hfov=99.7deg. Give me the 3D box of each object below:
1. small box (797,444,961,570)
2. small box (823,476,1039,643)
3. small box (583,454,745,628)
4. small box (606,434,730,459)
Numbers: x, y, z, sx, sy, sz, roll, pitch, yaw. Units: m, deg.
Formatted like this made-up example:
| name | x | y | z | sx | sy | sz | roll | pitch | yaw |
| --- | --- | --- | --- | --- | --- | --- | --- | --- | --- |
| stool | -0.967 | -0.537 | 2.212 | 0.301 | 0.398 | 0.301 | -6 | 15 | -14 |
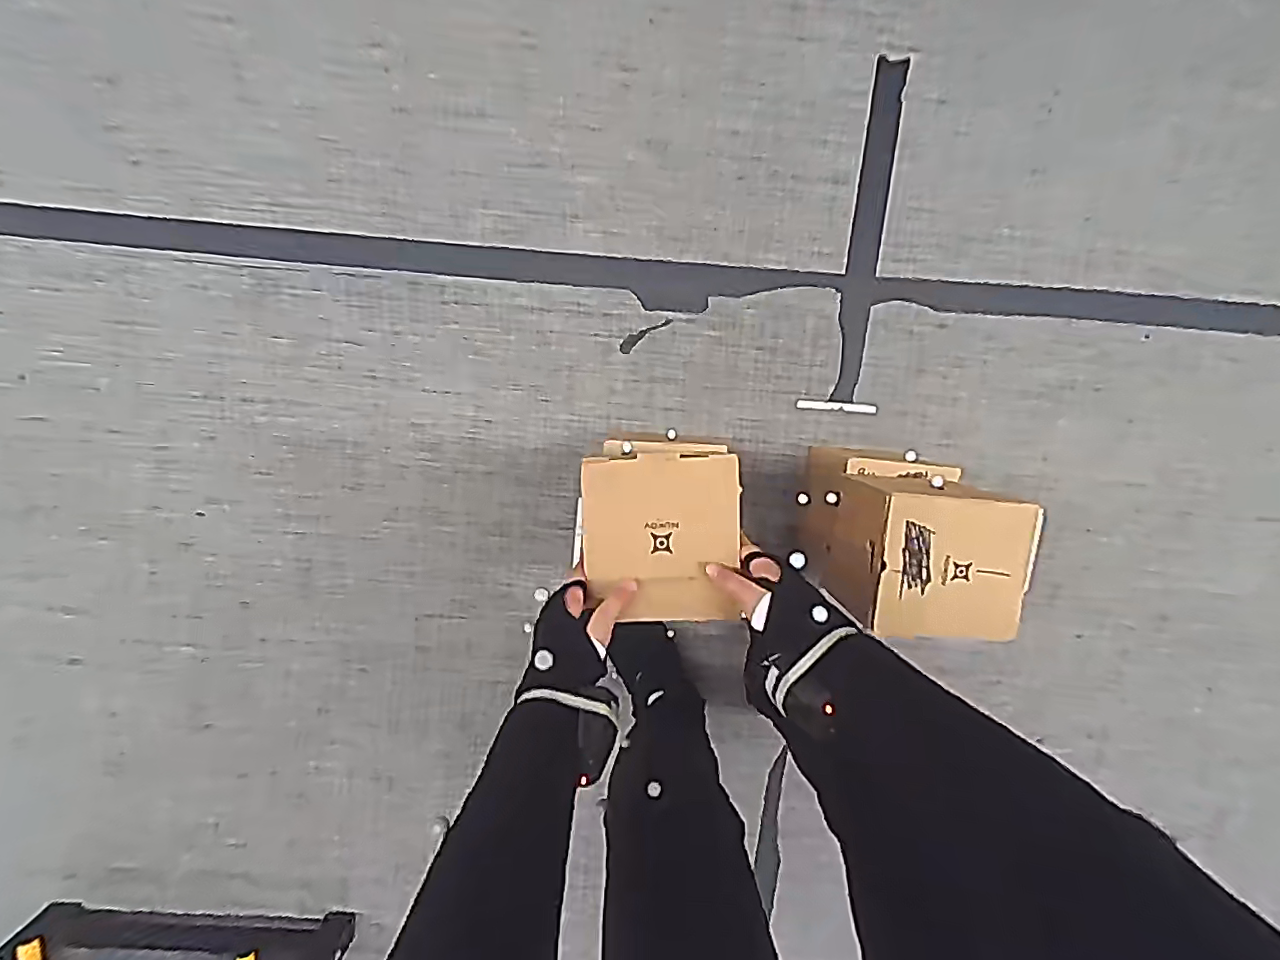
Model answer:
| name | x | y | z | sx | sy | sz | roll | pitch | yaw |
| --- | --- | --- | --- | --- | --- | --- | --- | --- | --- |
| small box | 0.360 | 0.048 | 0.853 | 0.168 | 0.176 | 0.179 | 7 | 100 | -3 |
| small box | 0.352 | 0.091 | 0.692 | 0.179 | 0.176 | 0.168 | 4 | 99 | -3 |
| small box | 0.026 | 0.060 | 0.634 | 0.168 | 0.176 | 0.179 | -2 | 94 | 2 |
| small box | 0.033 | 0.019 | 0.841 | 0.179 | 0.176 | 0.168 | 3 | 98 | -1 |
